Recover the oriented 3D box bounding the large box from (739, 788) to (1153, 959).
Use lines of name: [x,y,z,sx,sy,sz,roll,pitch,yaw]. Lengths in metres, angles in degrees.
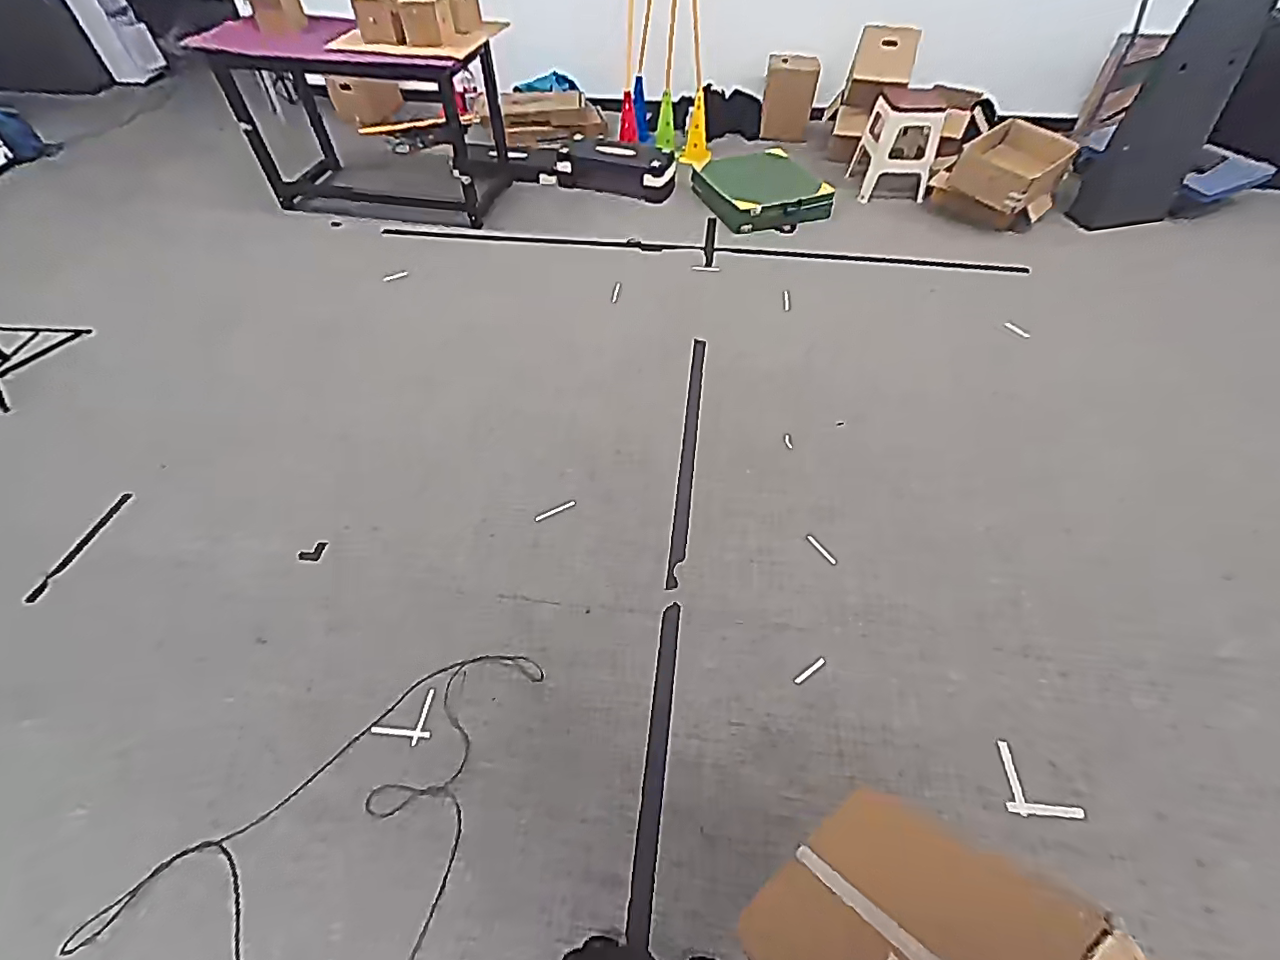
large box: [0.397,0.677,0.668,0.320,0.408,0.320,-35,89,-18]
